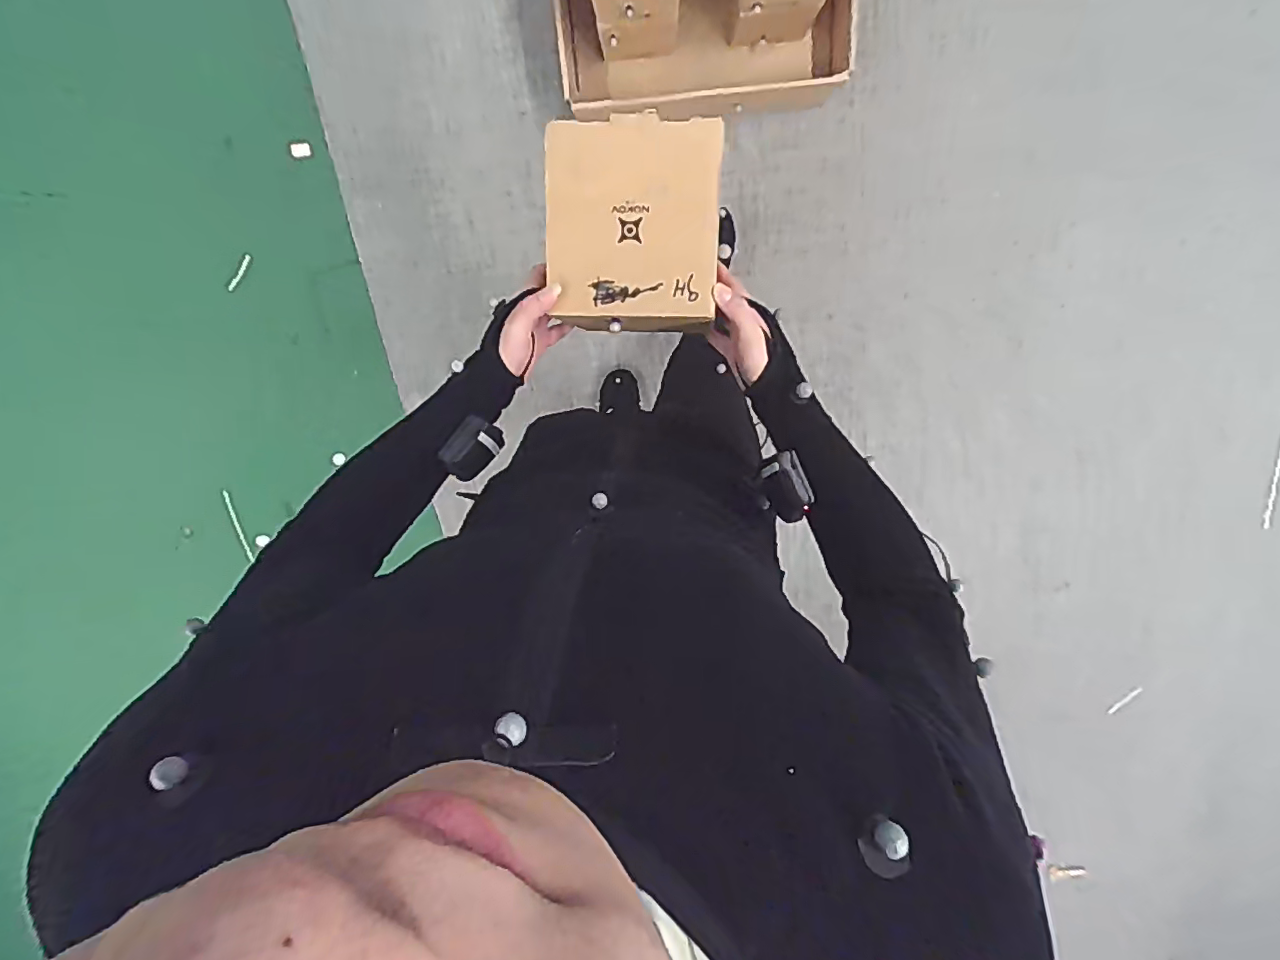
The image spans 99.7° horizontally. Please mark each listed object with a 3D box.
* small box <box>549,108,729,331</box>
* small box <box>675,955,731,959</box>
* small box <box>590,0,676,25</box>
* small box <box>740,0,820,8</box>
[{"bbox_3d":[0.003,-0.261,0.578,0.168,0.176,0.179,2,100,5],"label":"small box"},{"bbox_3d":[0.152,1.219,1.211,0.168,0.176,0.179,-12,109,5],"label":"small box"},{"bbox_3d":[-0.017,-0.973,0.979,0.168,0.176,0.179,-3,109,1],"label":"small box"},{"bbox_3d":[0.266,-0.985,0.967,0.168,0.176,0.179,-1,108,3],"label":"small box"}]
